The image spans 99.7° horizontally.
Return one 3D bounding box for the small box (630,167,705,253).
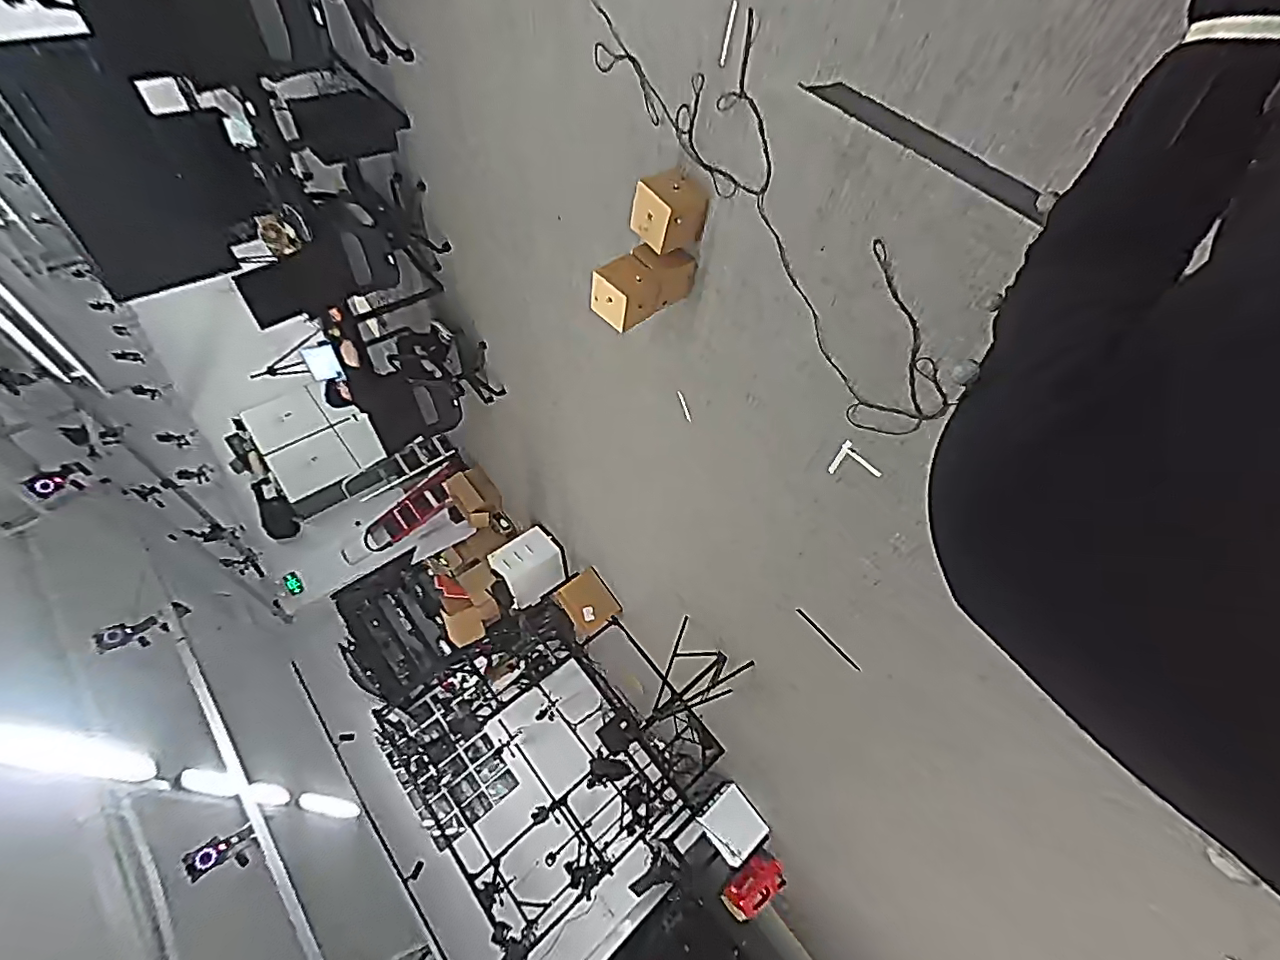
[{"bbox_3d":[0.092,-0.898,1.791,0.168,0.176,0.179,50,154,16],"label":"small box"}]
